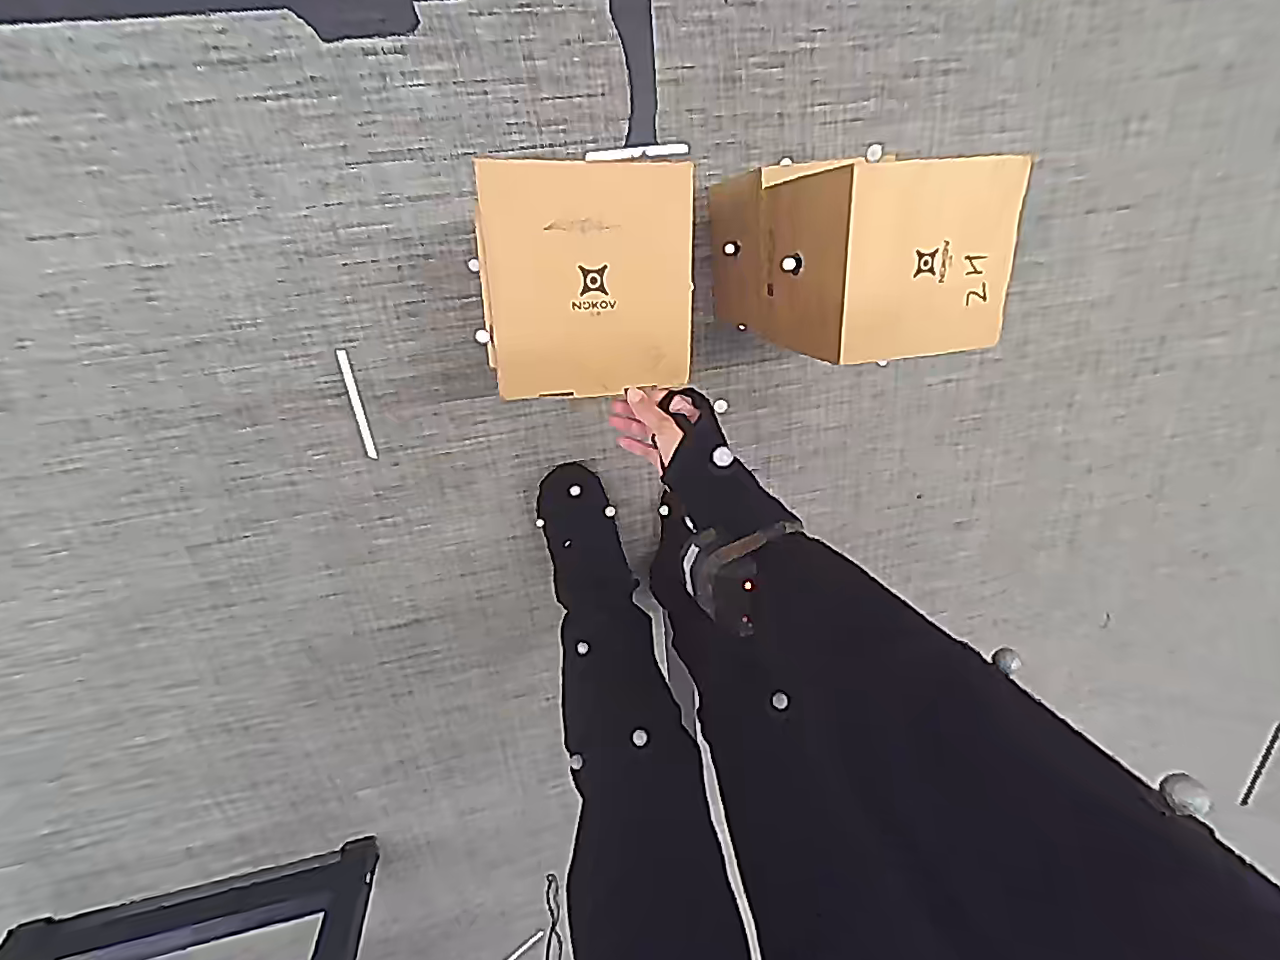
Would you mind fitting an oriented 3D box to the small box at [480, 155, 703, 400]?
[{"bbox_3d":[-0.050,-0.182,0.496,0.168,0.176,0.179,-7,112,-13],"label":"small box"}]

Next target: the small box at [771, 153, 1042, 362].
[{"bbox_3d":[0.247,-0.222,0.549,0.179,0.176,0.168,-9,114,-11],"label":"small box"}]

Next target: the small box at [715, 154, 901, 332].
[{"bbox_3d":[0.203,-0.298,0.690,0.168,0.176,0.179,-11,113,-10],"label":"small box"}]
